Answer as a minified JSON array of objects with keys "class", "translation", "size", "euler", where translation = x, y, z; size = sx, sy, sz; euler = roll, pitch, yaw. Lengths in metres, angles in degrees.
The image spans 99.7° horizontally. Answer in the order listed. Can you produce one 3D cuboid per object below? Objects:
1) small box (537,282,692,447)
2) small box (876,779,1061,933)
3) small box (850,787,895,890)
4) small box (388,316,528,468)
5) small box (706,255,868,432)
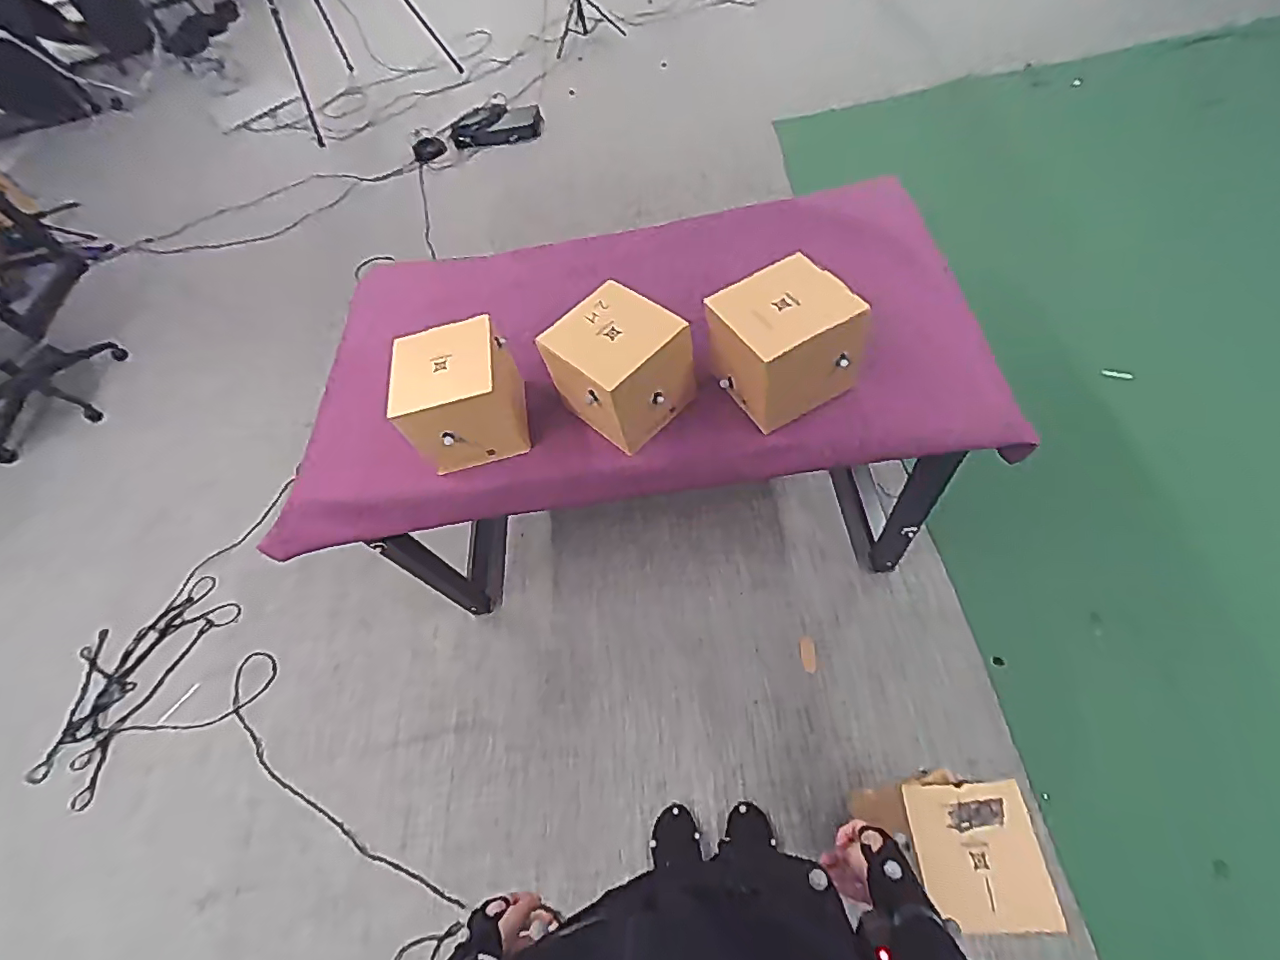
[{"class":"small box","translation":[-0.032,-0.179,0.878],"size":[0.168,0.176,0.179],"euler":[-43,61,-16]},{"class":"small box","translation":[0.475,0.558,0.819],"size":[0.168,0.176,0.179],"euler":[-6,60,6]},{"class":"small box","translation":[0.529,0.729,1.095],"size":[0.179,0.176,0.168],"euler":[1,60,12]},{"class":"small box","translation":[-0.296,-0.137,0.907],"size":[0.168,0.176,0.179],"euler":[-14,57,2]},{"class":"small box","translation":[0.221,-0.209,0.850],"size":[0.179,0.176,0.168],"euler":[-28,56,-6]}]
